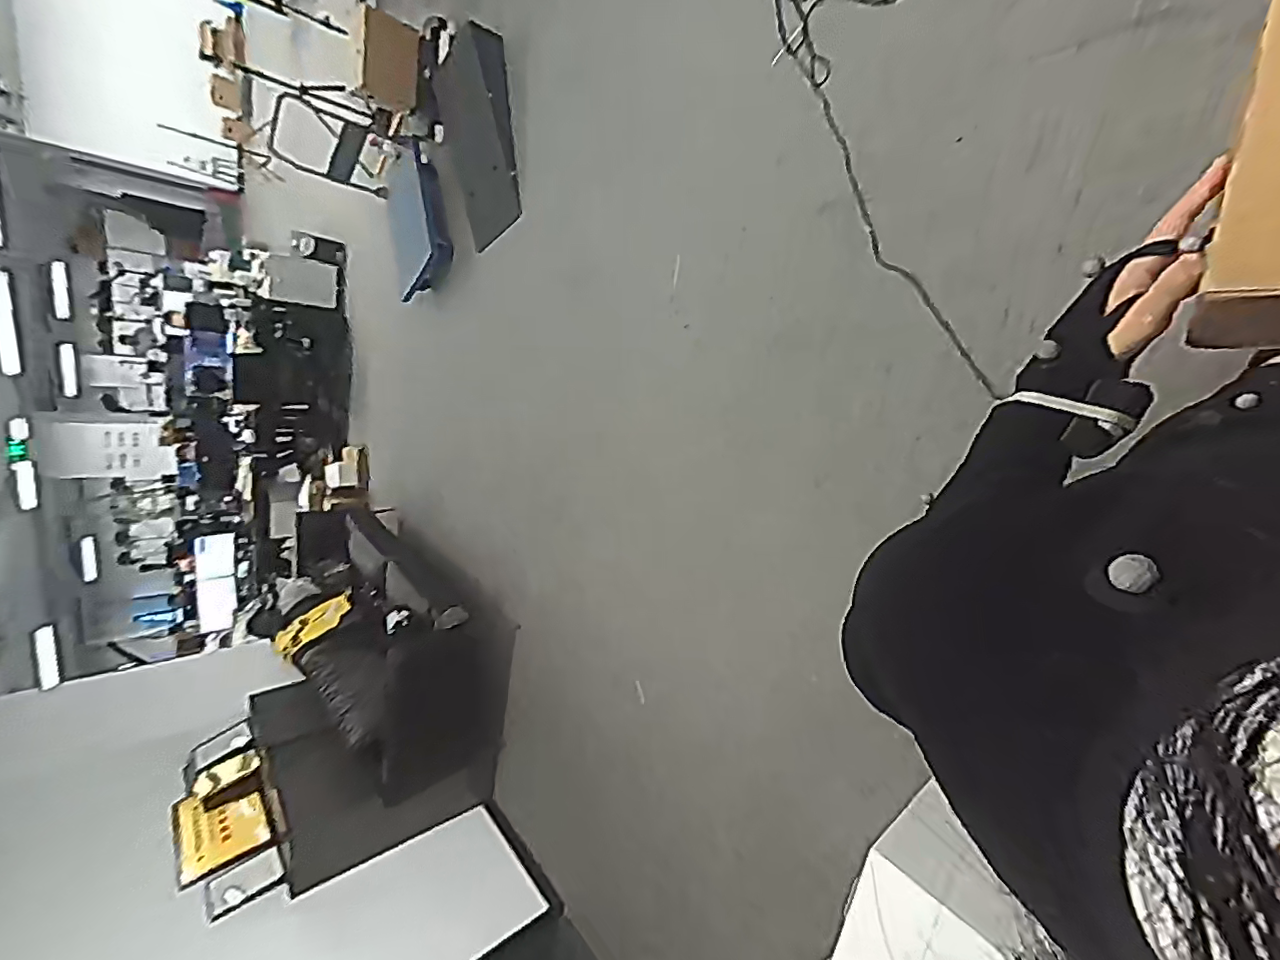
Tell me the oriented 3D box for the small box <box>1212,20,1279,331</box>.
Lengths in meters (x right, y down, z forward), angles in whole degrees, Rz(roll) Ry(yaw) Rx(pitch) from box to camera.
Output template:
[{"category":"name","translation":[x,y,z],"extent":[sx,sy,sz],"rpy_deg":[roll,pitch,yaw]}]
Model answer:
[{"category":"small box","translation":[0.448,-0.188,0.294],"extent":[0.168,0.176,0.179],"rpy_deg":[12,99,43]}]
